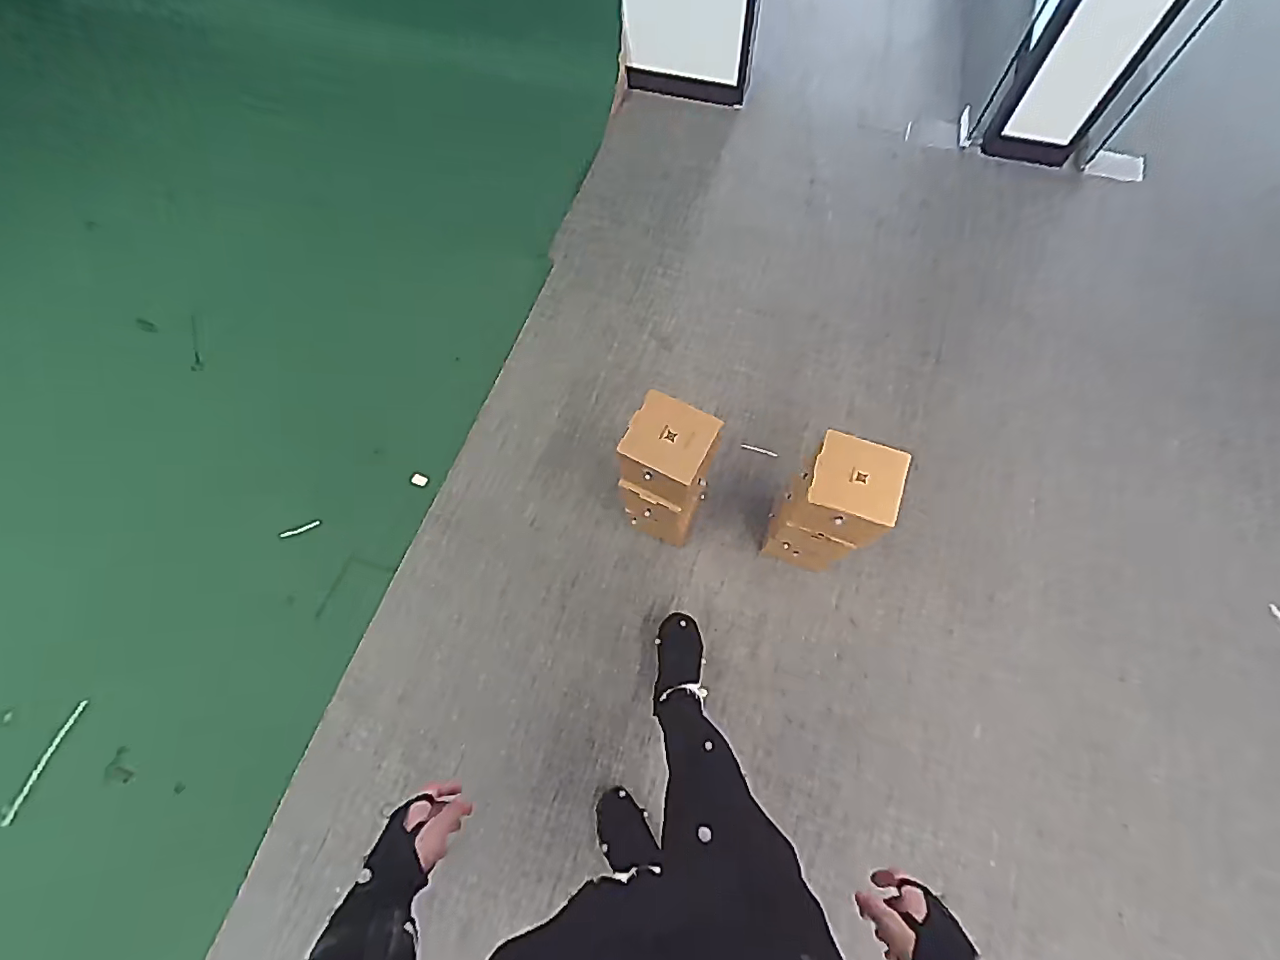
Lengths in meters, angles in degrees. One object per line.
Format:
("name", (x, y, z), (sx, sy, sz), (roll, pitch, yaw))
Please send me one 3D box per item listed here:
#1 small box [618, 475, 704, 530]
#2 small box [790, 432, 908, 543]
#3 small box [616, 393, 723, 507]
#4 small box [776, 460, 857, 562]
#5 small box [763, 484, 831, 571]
("small box", (0.062, 0.006, 1.365), (0.168, 0.176, 0.179), (24, 73, 12))
("small box", (0.441, 0.024, 1.164), (0.179, 0.176, 0.168), (18, 71, 10))
("small box", (0.066, -0.059, 1.215), (0.179, 0.176, 0.168), (27, 72, 12))
("small box", (0.440, 0.081, 1.316), (0.168, 0.176, 0.179), (19, 70, 10))
("small box", (0.447, 0.136, 1.470), (0.179, 0.176, 0.168), (18, 72, 10))
